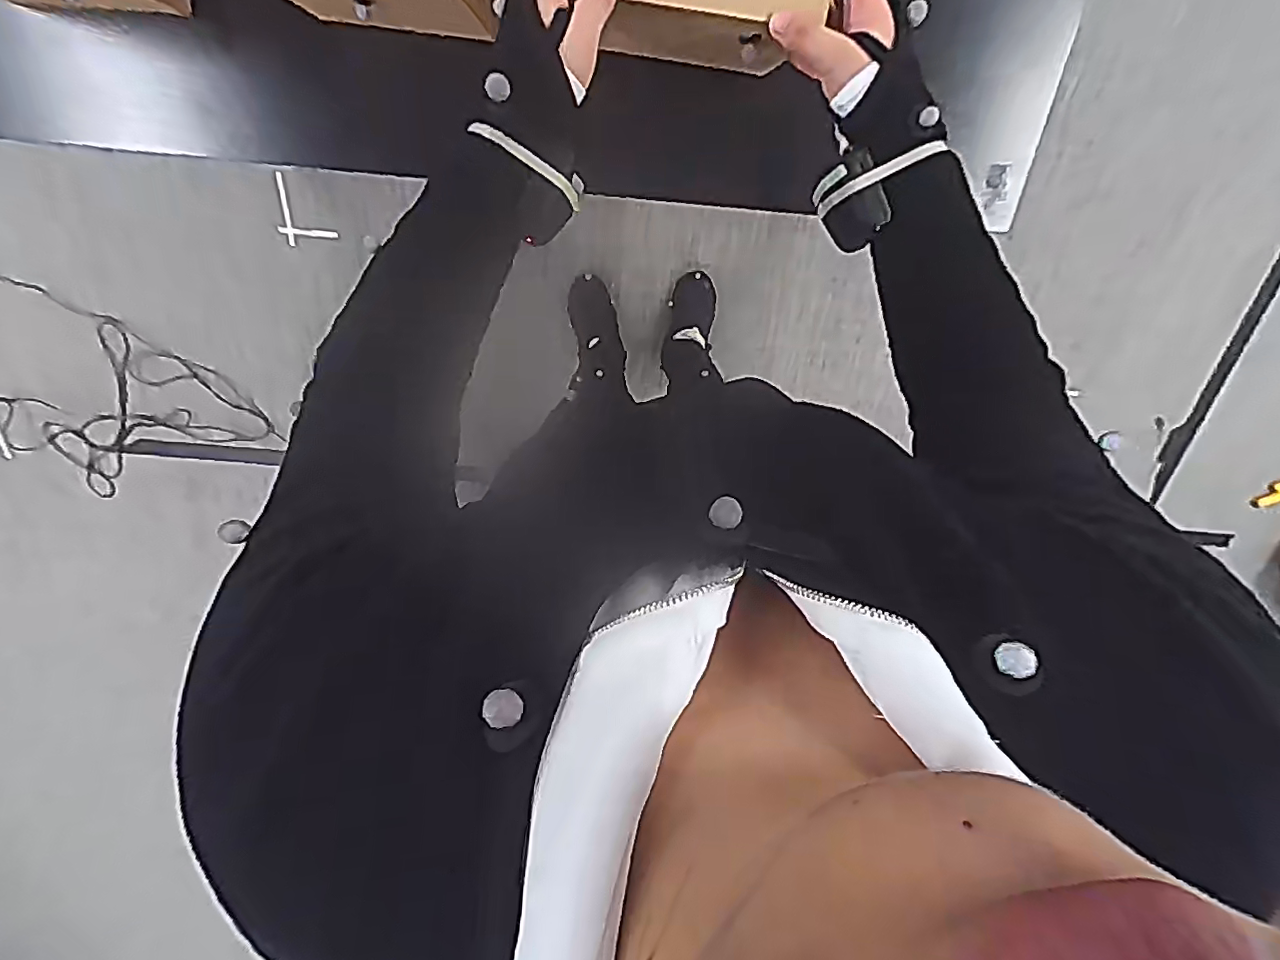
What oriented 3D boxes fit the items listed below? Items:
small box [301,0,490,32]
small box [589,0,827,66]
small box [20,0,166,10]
[{"bbox_3d":[-0.219,-0.483,0.425,0.179,0.176,0.168,5,116,-3],"label":"small box"},{"bbox_3d":[0.053,-0.451,0.427,0.179,0.176,0.168,4,117,-6],"label":"small box"},{"bbox_3d":[-0.514,-0.494,0.414,0.179,0.176,0.168,1,116,-2],"label":"small box"}]
